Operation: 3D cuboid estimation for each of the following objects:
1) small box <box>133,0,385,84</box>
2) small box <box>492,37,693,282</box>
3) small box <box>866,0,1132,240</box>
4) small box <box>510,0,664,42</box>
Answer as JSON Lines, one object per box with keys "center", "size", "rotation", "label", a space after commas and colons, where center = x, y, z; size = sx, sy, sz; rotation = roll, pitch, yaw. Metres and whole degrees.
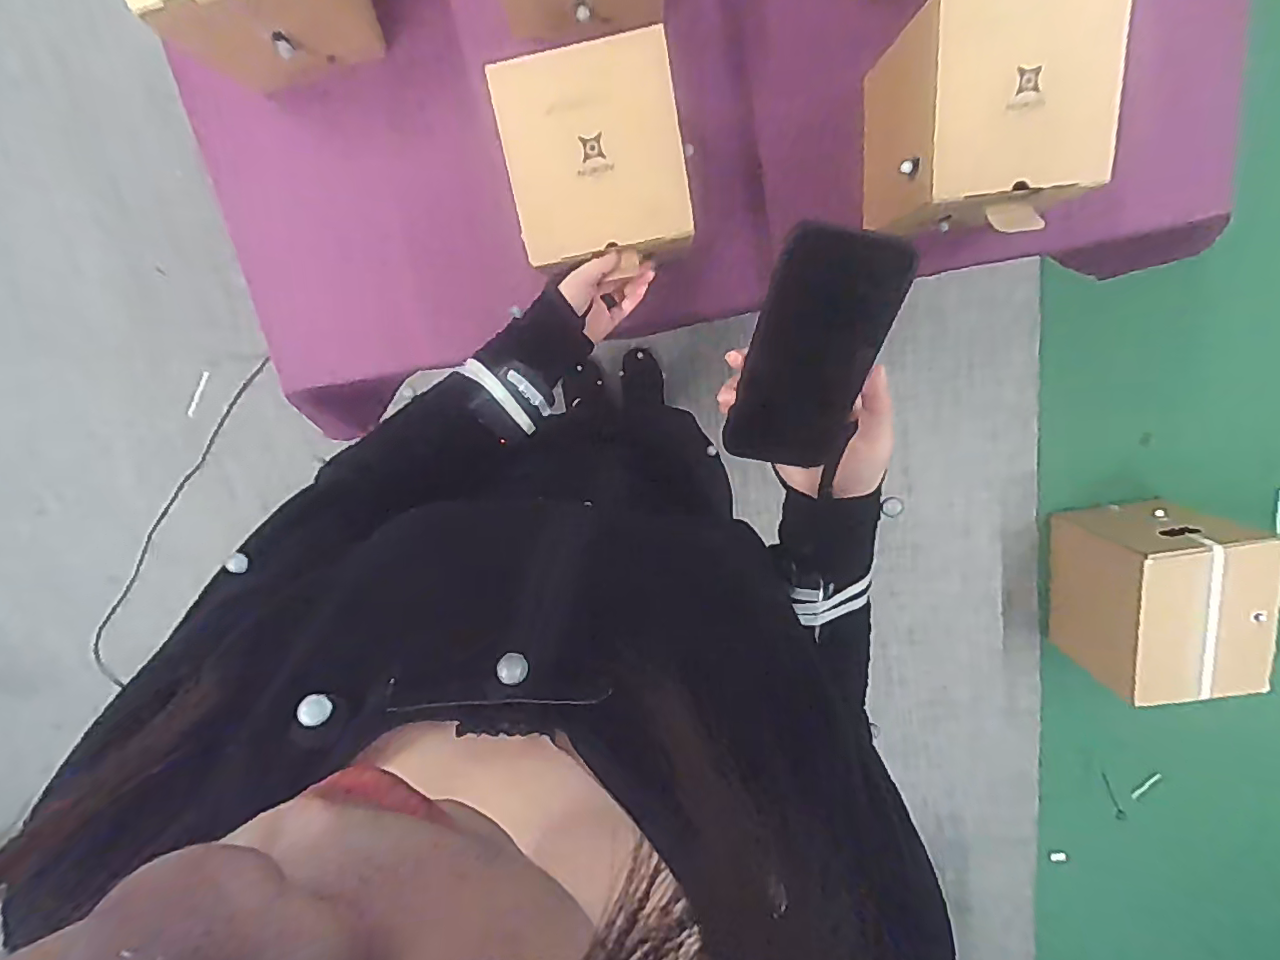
{"center": [-0.385, -0.528, 0.531], "size": [0.168, 0.176, 0.179], "rotation": [-14, 105, 4], "label": "small box"}
{"center": [-0.039, -0.318, 0.582], "size": [0.168, 0.176, 0.179], "rotation": [-10, 104, 3], "label": "small box"}
{"center": [0.347, -0.363, 0.560], "size": [0.168, 0.176, 0.179], "rotation": [-5, 105, 3], "label": "small box"}
{"center": [-0.060, -0.565, 0.514], "size": [0.168, 0.176, 0.179], "rotation": [-3, 105, 2], "label": "small box"}
